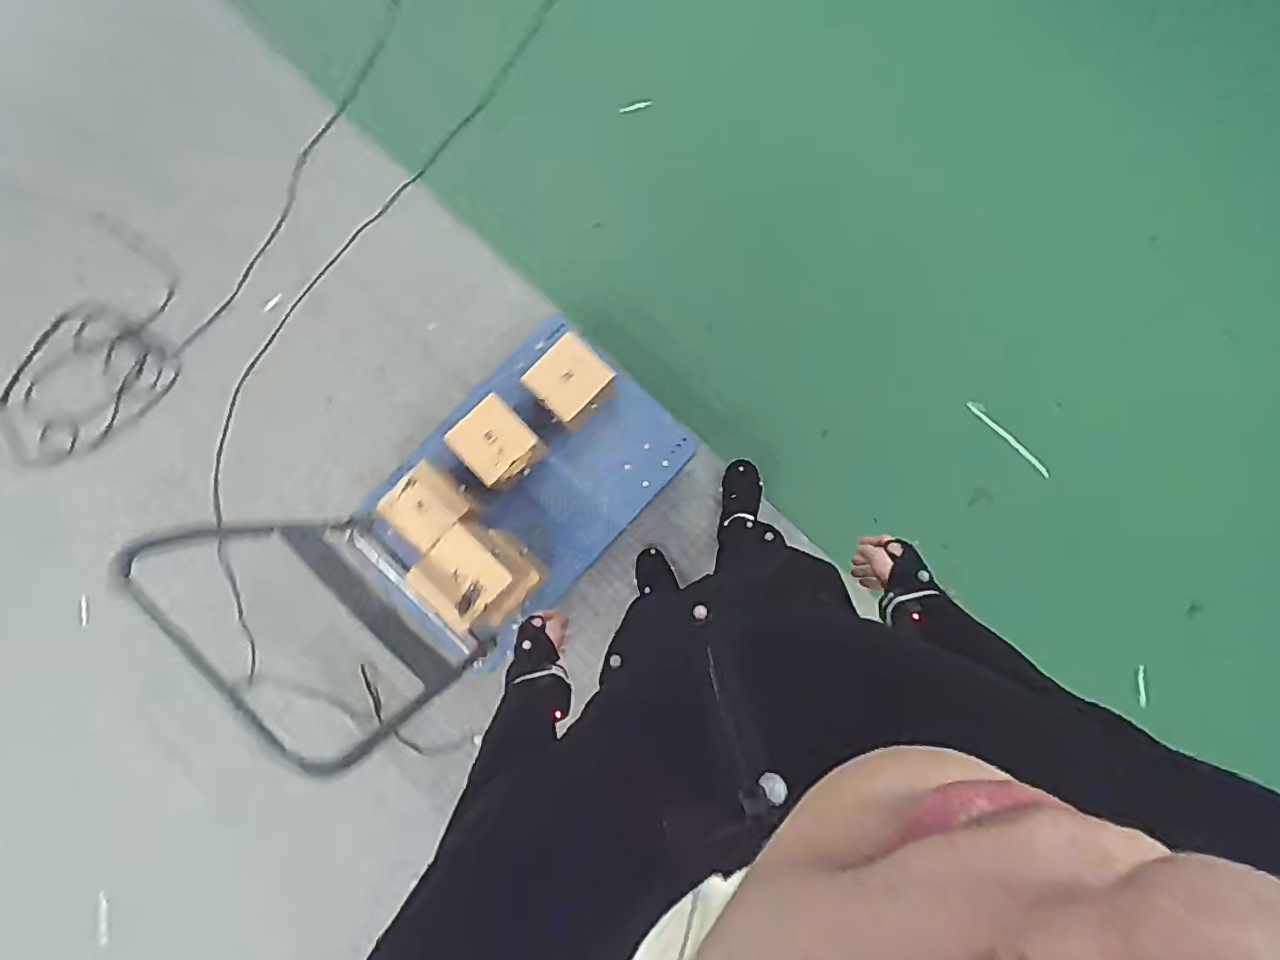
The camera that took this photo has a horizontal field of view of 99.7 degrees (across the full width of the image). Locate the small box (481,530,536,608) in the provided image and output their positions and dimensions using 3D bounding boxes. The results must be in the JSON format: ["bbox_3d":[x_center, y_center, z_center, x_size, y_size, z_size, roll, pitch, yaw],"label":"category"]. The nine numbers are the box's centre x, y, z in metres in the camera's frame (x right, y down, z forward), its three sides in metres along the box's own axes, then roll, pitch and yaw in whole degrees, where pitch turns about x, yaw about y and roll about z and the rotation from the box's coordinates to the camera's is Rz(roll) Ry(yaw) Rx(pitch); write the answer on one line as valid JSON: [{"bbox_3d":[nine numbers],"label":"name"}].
[{"bbox_3d":[-0.383,0.229,1.377,0.179,0.176,0.168,-17,87,-1],"label":"small box"}]

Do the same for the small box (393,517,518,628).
[{"bbox_3d":[-0.399,0.198,1.207,0.179,0.176,0.168,43,85,4],"label":"small box"}]

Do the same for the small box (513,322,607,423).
[{"bbox_3d":[-0.200,-0.271,1.416,0.168,0.176,0.179,44,86,3],"label":"small box"}]
